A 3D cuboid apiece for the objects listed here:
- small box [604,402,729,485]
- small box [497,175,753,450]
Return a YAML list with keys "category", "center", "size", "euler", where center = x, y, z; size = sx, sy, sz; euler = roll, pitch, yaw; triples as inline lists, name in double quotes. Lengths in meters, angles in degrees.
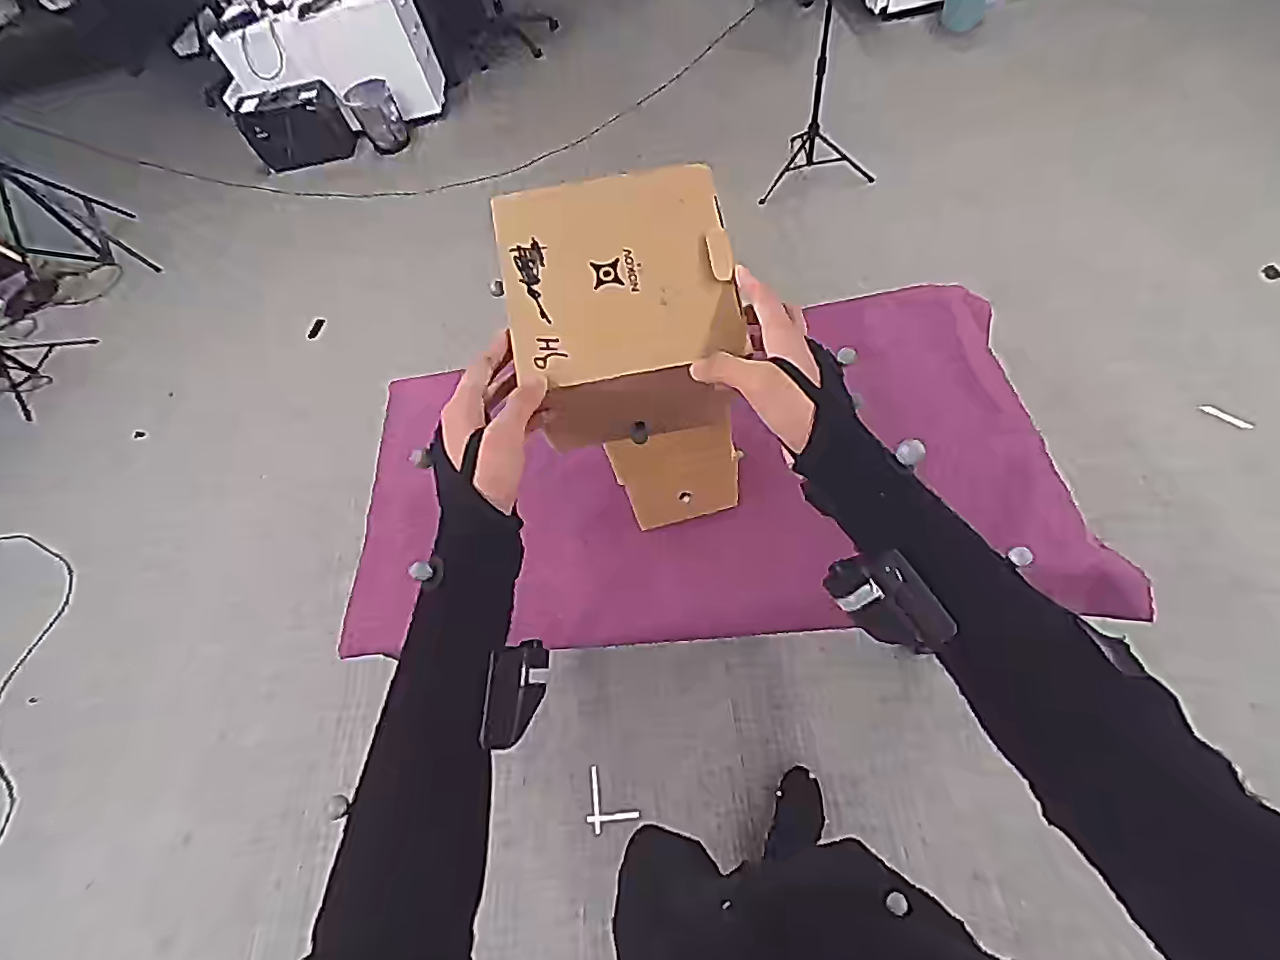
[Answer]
- category: "small box"
  center: [0.028, -0.110, 0.779]
  size: [0.179, 0.176, 0.168]
  euler: [-10, 59, 4]
- category: "small box"
  center: [-0.016, -0.134, 0.487]
  size: [0.179, 0.176, 0.168]
  euler: [-9, 78, -3]
